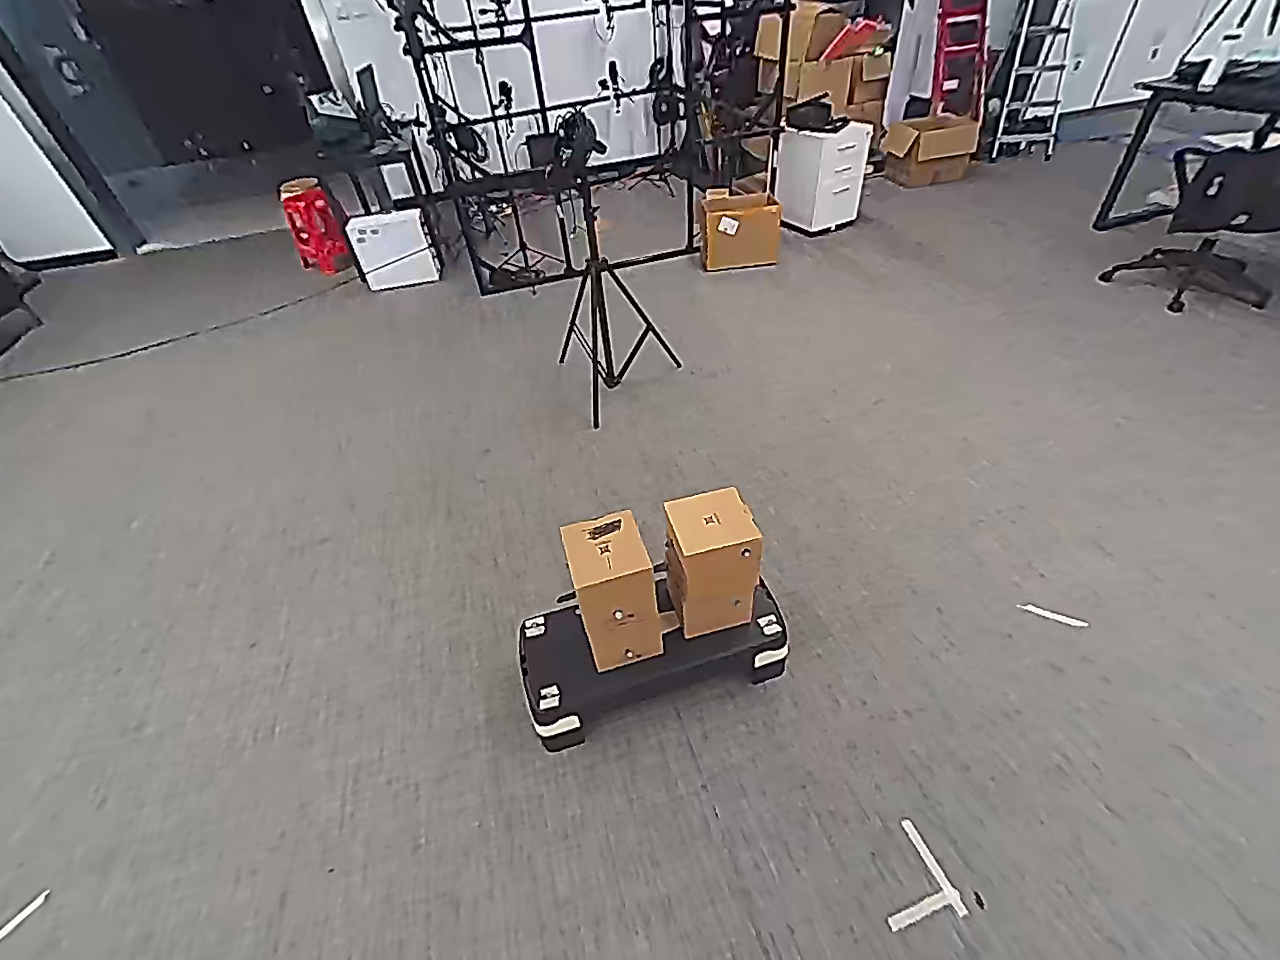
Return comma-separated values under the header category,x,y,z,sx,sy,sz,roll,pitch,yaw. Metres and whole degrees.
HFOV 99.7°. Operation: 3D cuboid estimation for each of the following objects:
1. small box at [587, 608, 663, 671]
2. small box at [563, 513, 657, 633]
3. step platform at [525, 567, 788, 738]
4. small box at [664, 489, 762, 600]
category,x,y,z,sx,sy,sz,roll,pitch,yaw
small box,-0.048,0.327,1.306,0.168,0.176,0.179,-14,43,-8
small box,-0.065,0.205,1.197,0.168,0.176,0.179,-15,43,-9
step platform,0.041,0.422,1.449,0.684,0.204,0.286,-16,43,-9
small box,0.164,0.150,1.232,0.179,0.176,0.168,-13,43,-8
